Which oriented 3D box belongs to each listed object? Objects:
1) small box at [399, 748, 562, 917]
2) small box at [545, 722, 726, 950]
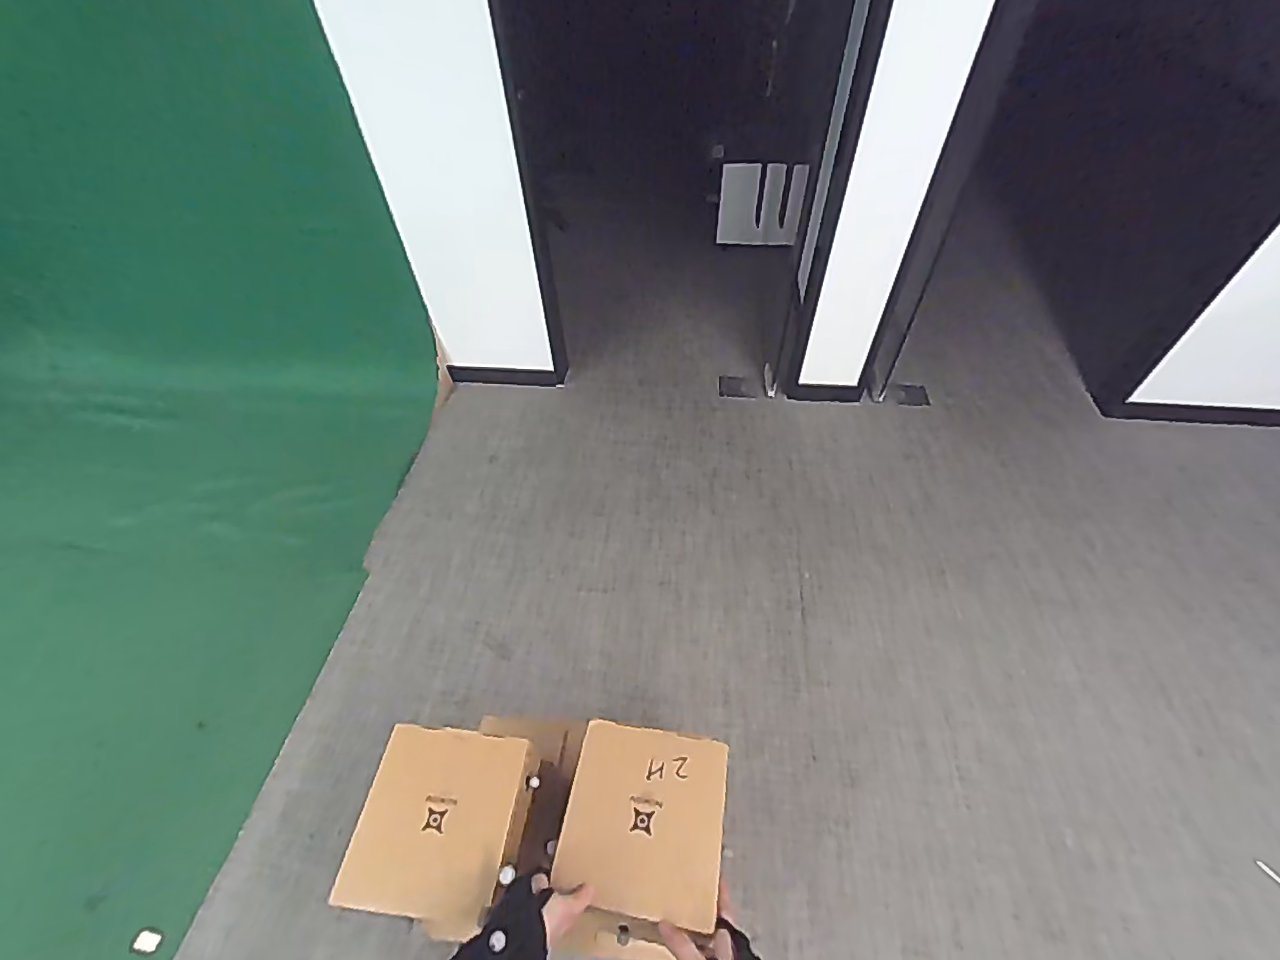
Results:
[{"bbox_3d":[-0.215,0.515,0.789,0.168,0.176,0.179,5,52,5],"label":"small box"},{"bbox_3d":[0.004,0.418,0.633,0.168,0.176,0.179,8,46,8],"label":"small box"}]
